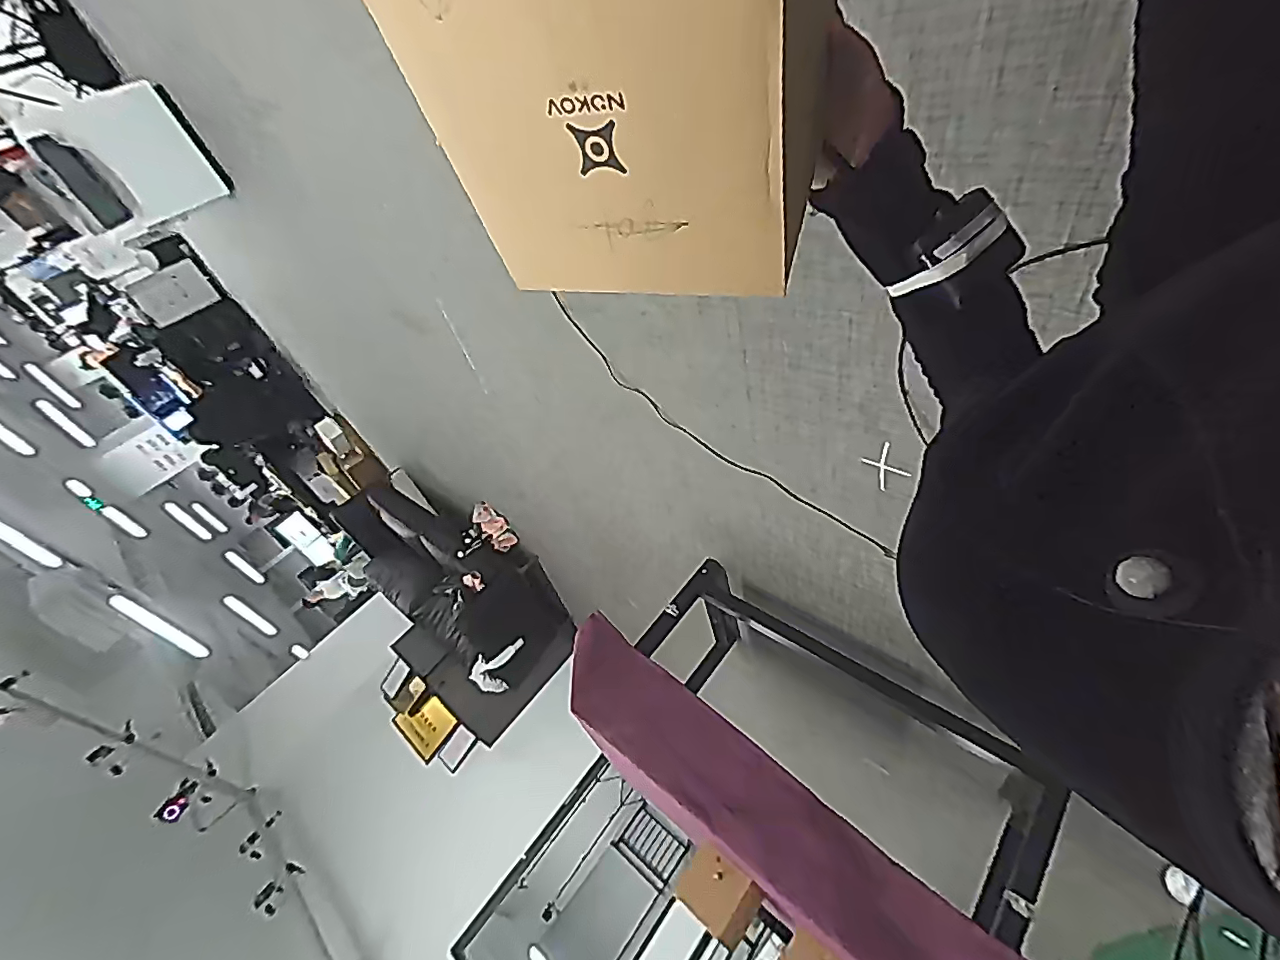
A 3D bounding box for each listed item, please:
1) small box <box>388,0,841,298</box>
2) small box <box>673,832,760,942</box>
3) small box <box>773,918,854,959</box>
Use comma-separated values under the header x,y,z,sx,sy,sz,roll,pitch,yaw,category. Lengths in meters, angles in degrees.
x,y,z,sx,sy,sz,roll,pitch,yaw,category
0.010,-0.224,0.283,0.168,0.176,0.179,10,155,19,small box
0.229,1.170,1.563,0.168,0.176,0.179,18,143,42,small box
0.445,1.263,1.379,0.179,0.176,0.168,23,147,38,small box
